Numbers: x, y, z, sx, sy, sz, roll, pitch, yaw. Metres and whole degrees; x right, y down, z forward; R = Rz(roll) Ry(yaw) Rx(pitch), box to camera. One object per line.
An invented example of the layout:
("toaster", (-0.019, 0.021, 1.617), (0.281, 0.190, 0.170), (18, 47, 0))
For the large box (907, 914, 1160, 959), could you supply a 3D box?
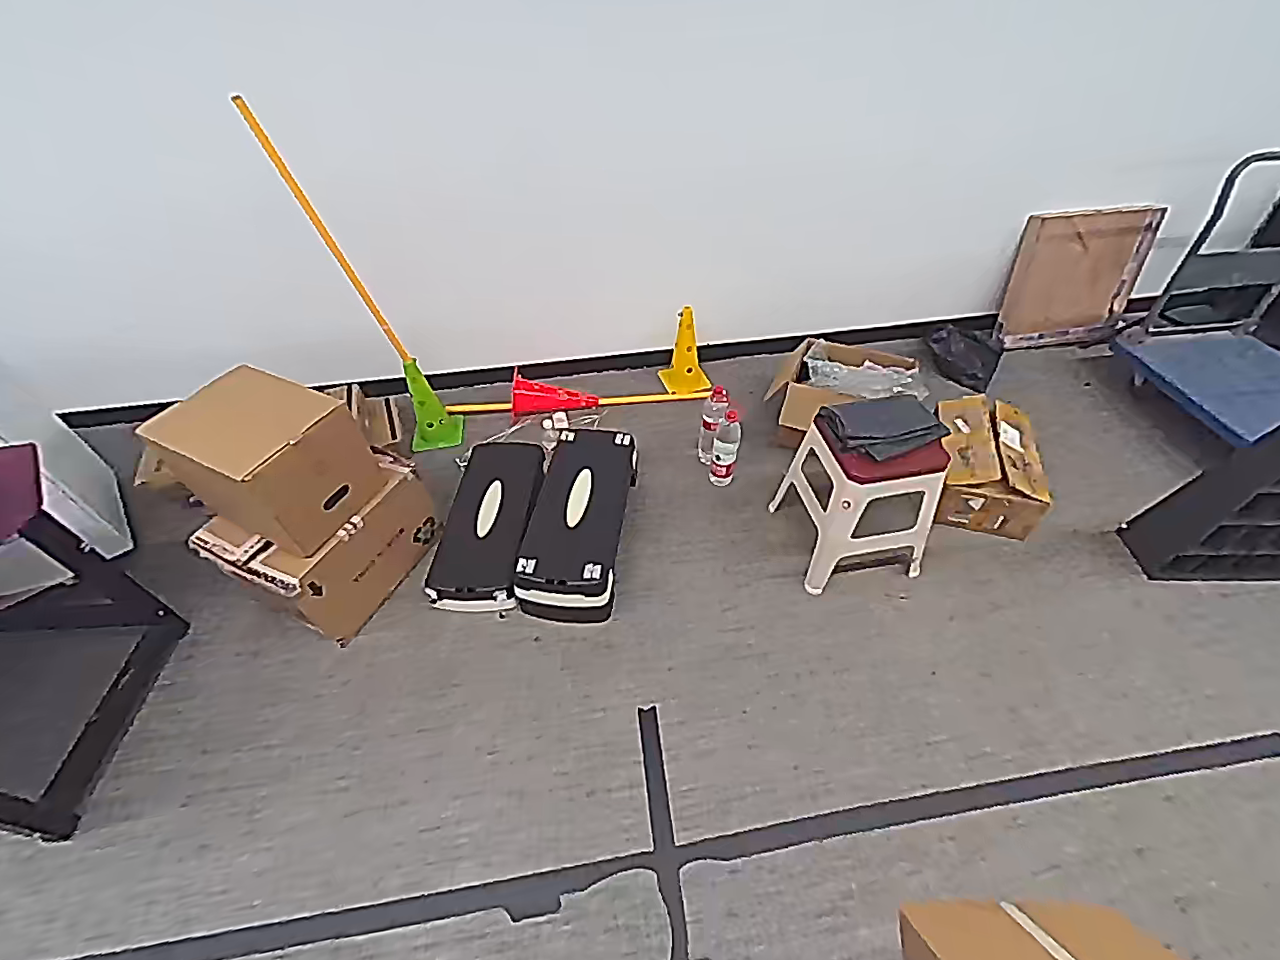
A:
("large box", (0.538, 0.761, 0.579), (0.320, 0.408, 0.320), (0, 79, 1))
